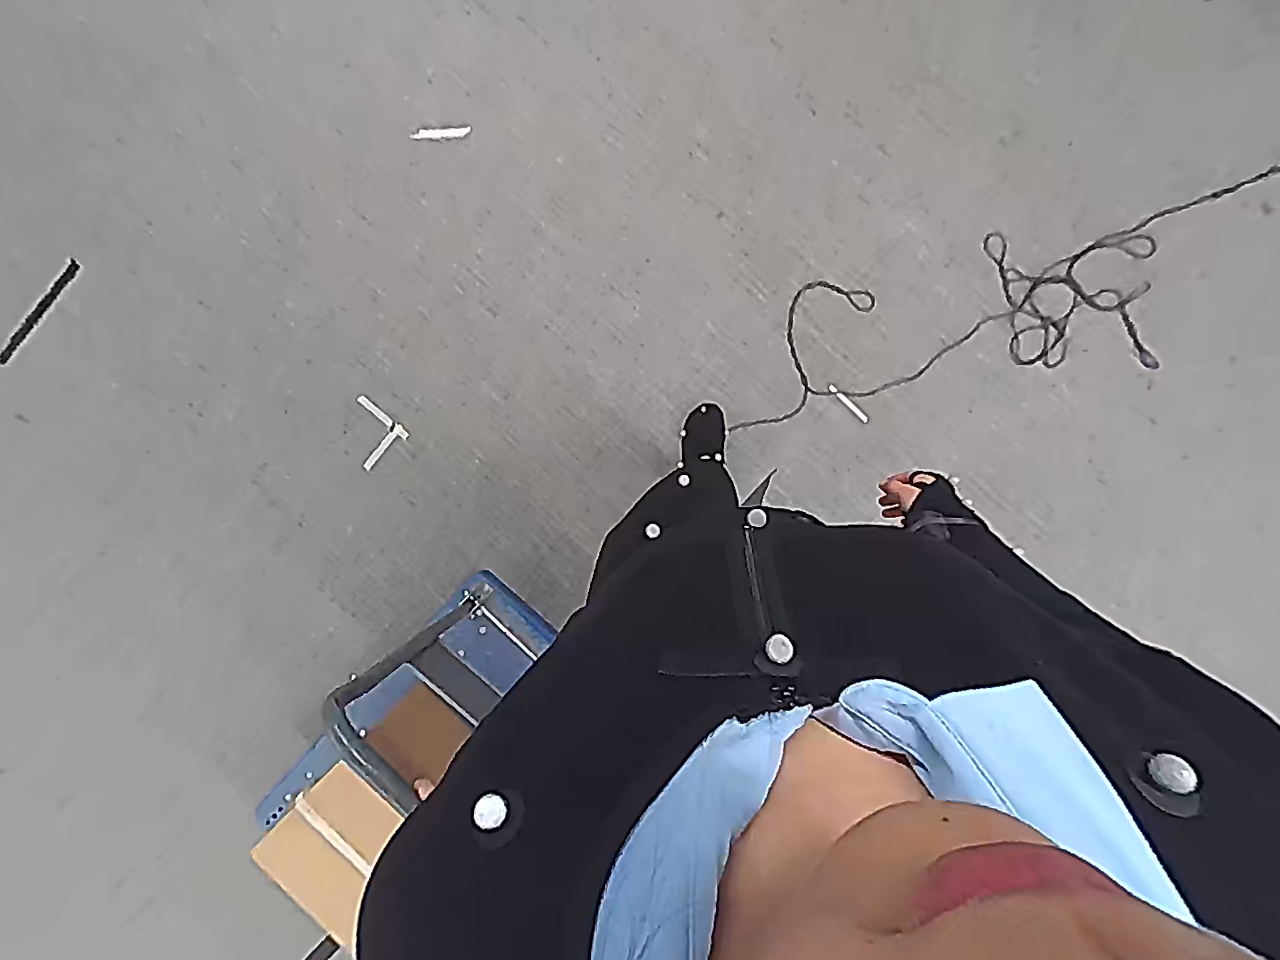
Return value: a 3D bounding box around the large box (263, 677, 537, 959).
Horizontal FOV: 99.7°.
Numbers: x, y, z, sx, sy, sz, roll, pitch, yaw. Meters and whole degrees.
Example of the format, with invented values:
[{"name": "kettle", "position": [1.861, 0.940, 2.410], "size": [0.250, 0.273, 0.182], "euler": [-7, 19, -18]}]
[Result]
[{"name": "large box", "position": [-0.504, 0.736, 1.219], "size": [0.408, 0.320, 0.320], "euler": [45, 93, -1]}]
